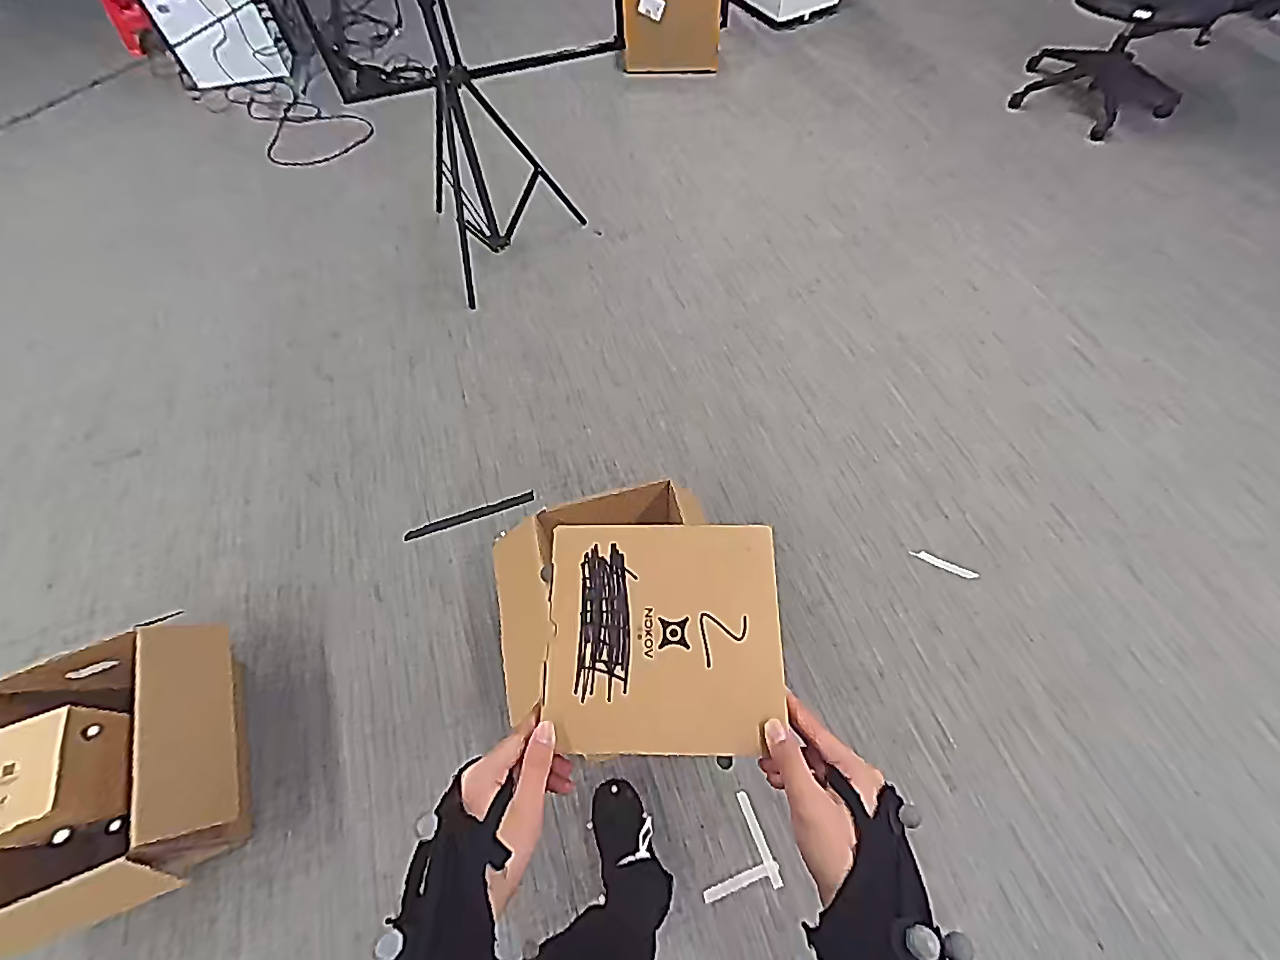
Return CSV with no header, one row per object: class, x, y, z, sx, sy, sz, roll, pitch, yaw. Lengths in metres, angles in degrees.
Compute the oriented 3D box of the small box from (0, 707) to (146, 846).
small box,-1.043,0.533,0.969,0.168,0.176,0.179,-19,61,-8
